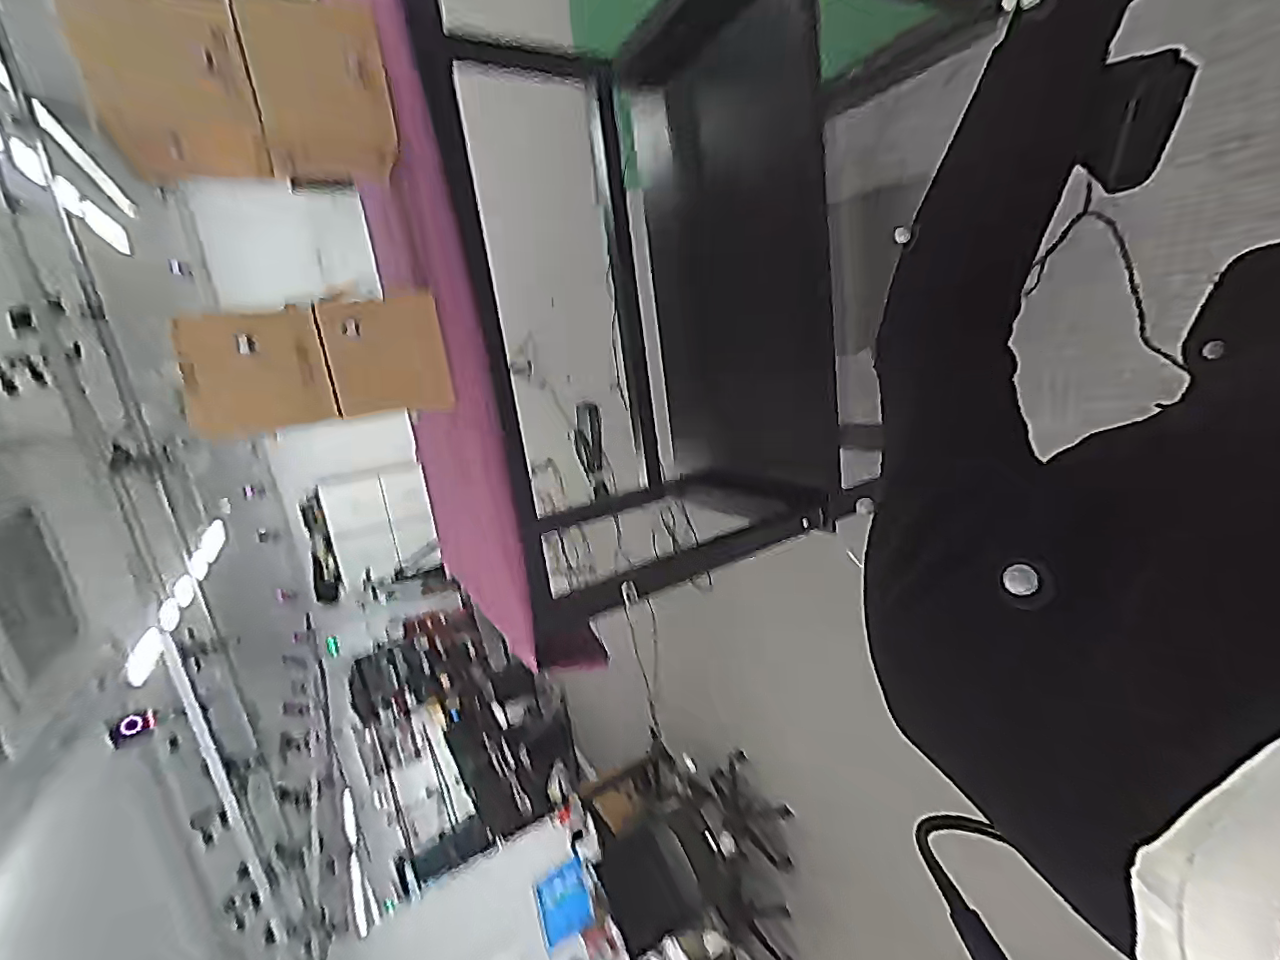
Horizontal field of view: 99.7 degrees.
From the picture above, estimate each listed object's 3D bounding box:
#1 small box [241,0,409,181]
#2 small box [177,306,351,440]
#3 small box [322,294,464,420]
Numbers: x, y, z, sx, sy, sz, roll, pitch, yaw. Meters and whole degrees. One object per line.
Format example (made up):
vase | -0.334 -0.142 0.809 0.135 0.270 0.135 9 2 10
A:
small box | -0.455 -0.561 0.795 0.168 0.176 0.179 14 116 60
small box | -0.543 -0.161 0.806 0.179 0.176 0.168 16 116 58
small box | -0.402 -0.201 0.879 0.168 0.176 0.179 15 117 59
